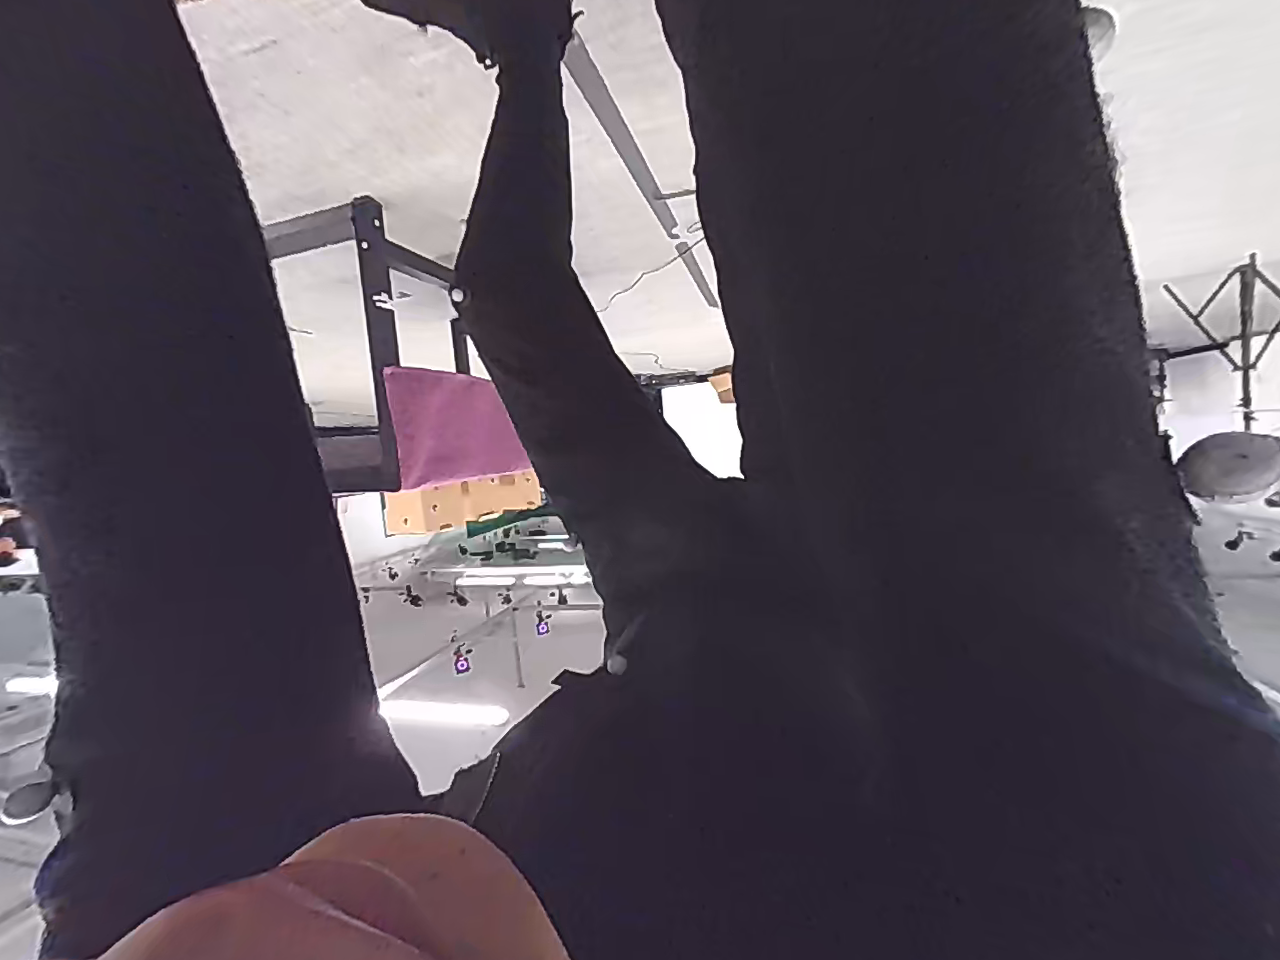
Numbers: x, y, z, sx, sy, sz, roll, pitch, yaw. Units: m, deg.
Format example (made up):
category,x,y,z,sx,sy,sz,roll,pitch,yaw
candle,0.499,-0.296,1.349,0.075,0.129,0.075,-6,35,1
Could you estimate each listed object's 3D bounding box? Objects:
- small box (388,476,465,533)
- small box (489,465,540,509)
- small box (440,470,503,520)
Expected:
category,x,y,z,sx,sy,sz,roll,pitch,yaw
small box,-0.706,0.076,1.779,0.179,0.176,0.168,-3,-176,29
small box,-0.546,0.027,2.298,0.179,0.176,0.168,-4,-175,25
small box,-0.645,0.054,2.034,0.179,0.176,0.168,-3,-175,26
